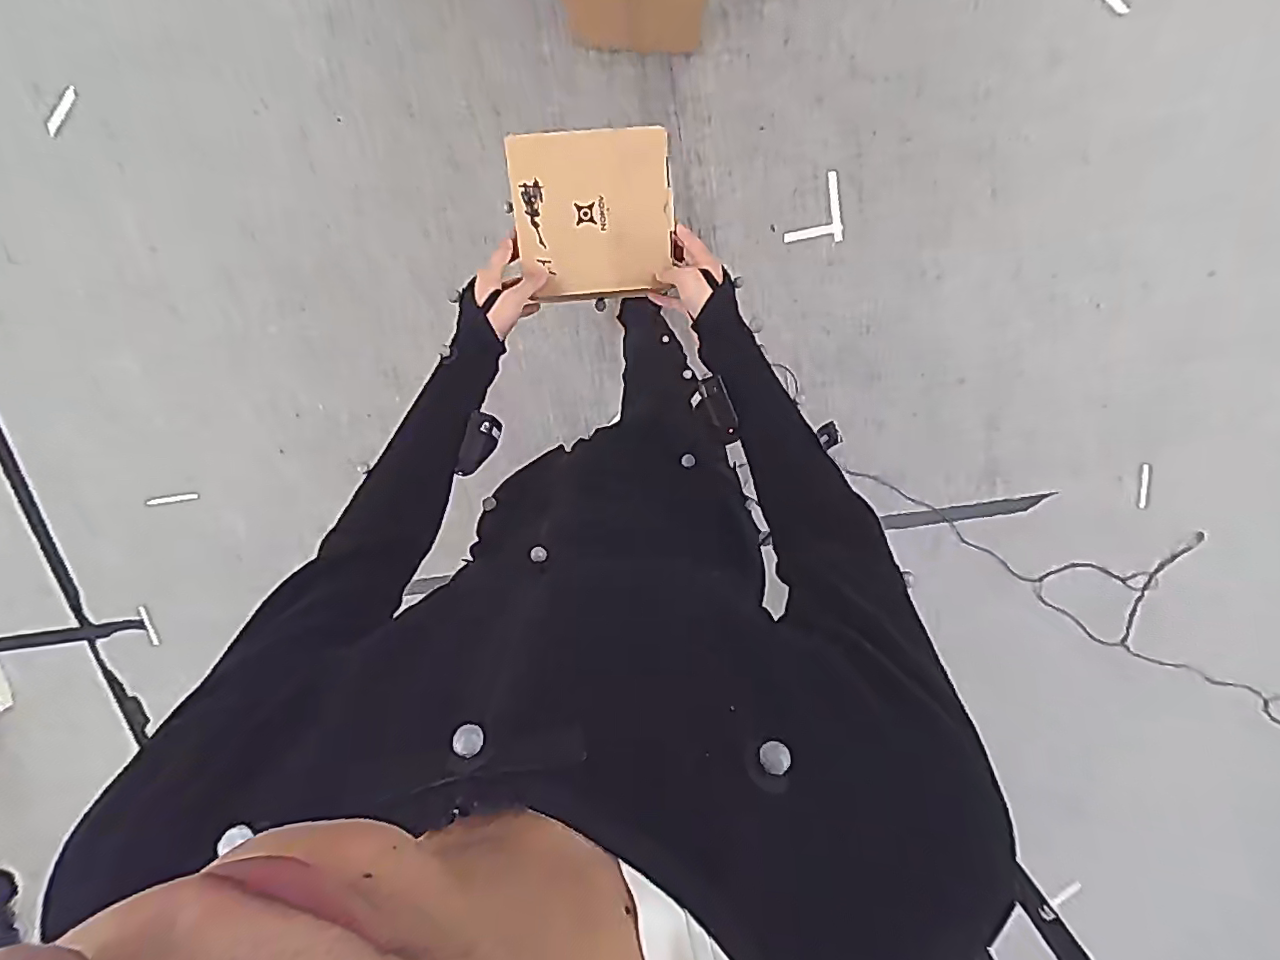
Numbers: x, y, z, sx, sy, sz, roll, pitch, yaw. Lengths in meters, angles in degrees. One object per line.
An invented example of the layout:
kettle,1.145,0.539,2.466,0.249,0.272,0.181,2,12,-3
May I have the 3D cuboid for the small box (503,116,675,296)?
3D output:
small box,-0.059,-0.321,0.662,0.179,0.176,0.168,-6,106,-3
